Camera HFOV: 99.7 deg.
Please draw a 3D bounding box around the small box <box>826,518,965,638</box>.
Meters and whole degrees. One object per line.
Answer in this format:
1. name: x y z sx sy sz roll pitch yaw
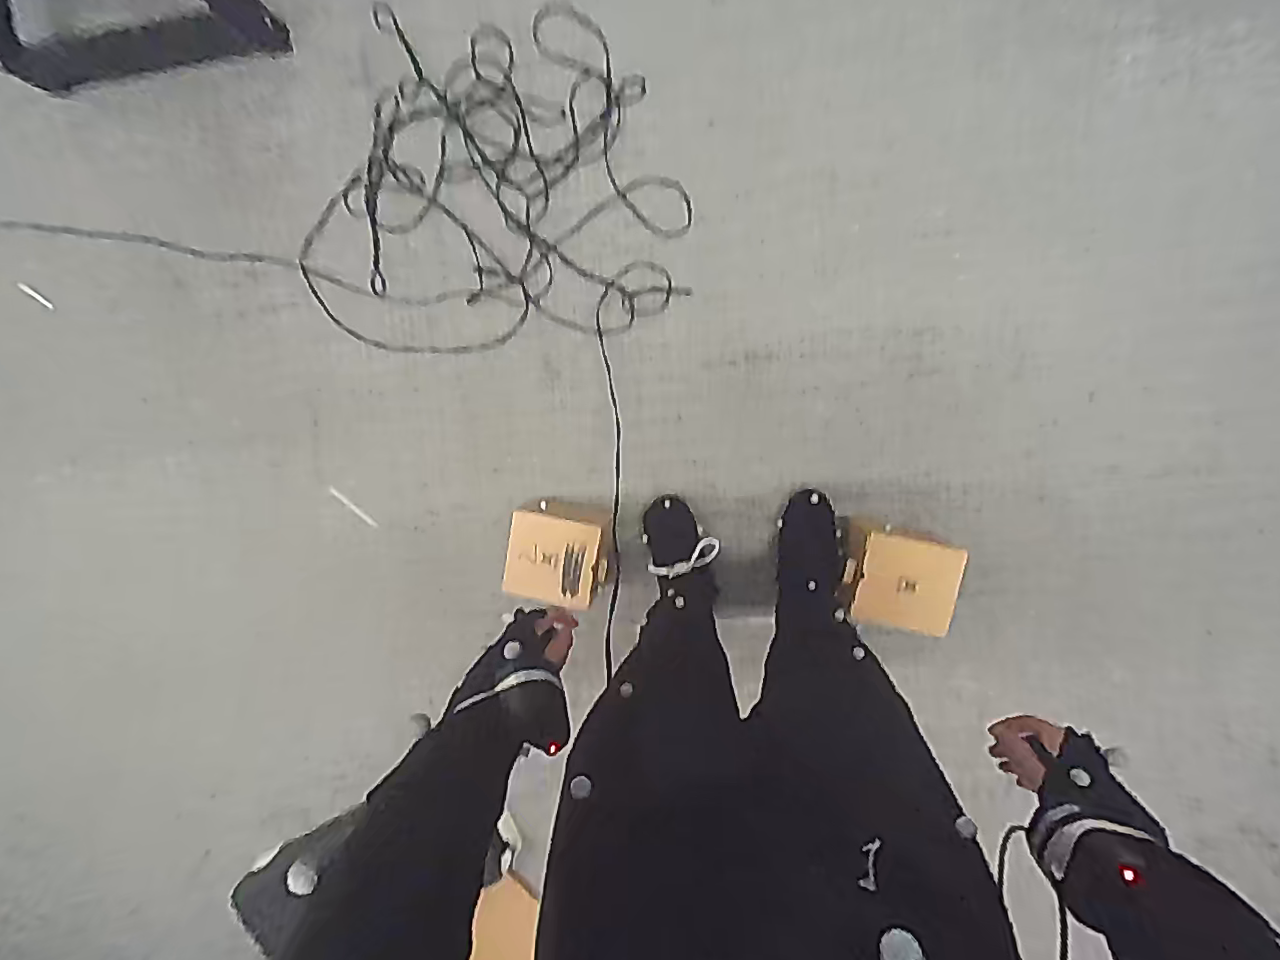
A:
1. small box: 0.482 0.180 1.047 0.179 0.176 0.168 11 98 4
